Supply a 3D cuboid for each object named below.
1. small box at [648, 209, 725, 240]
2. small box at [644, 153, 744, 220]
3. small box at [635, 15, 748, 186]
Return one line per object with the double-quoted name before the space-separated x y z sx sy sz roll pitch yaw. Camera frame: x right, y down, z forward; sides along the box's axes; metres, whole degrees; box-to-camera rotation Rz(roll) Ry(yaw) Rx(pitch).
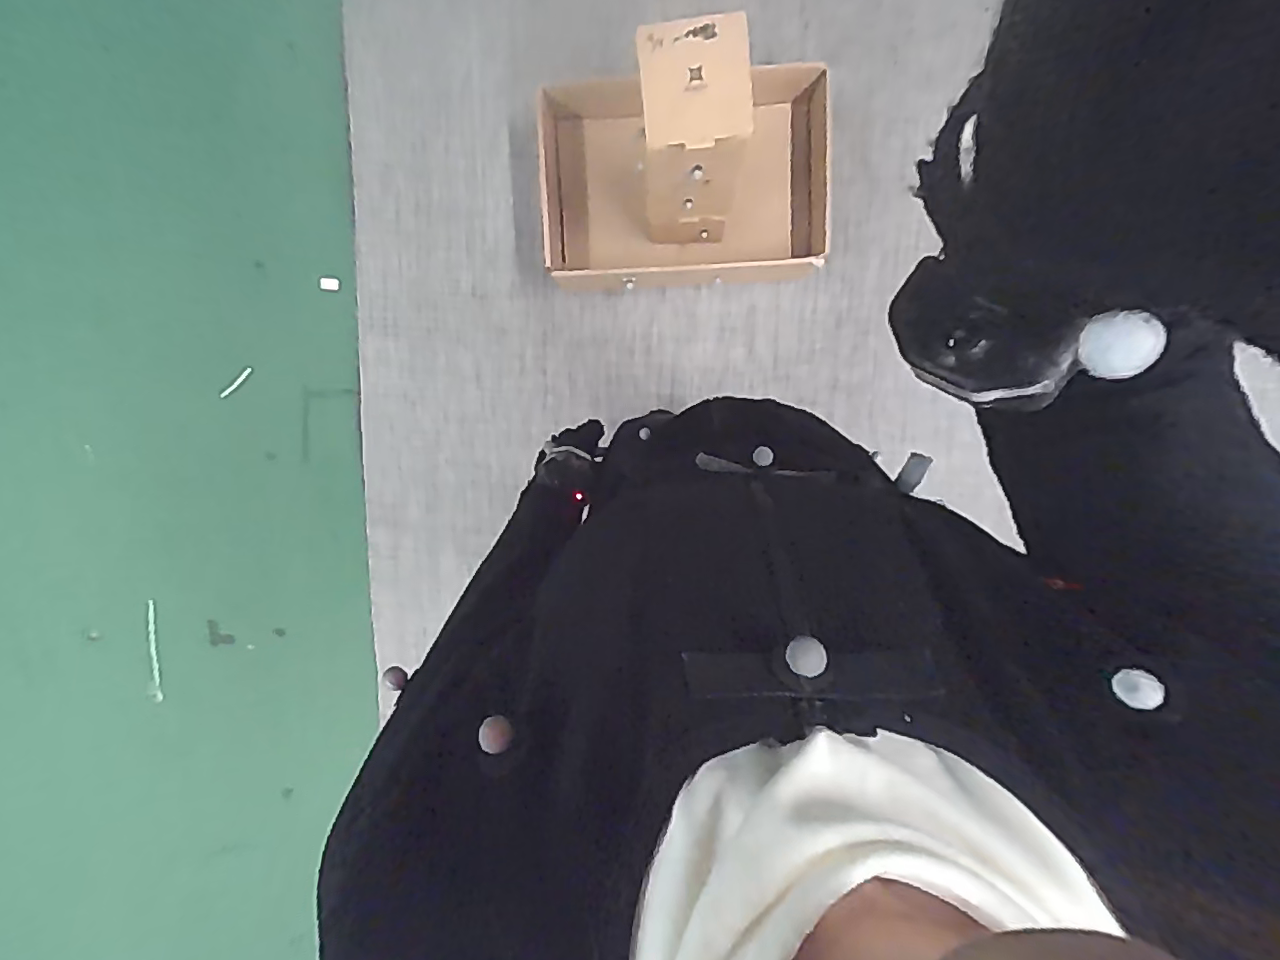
"small box" 0.105 -0.651 1.218 0.168 0.176 0.179 0 96 3
"small box" 0.098 -0.627 1.056 0.179 0.176 0.168 -5 98 3
"small box" 0.084 -0.608 0.895 0.168 0.176 0.179 -4 98 4
